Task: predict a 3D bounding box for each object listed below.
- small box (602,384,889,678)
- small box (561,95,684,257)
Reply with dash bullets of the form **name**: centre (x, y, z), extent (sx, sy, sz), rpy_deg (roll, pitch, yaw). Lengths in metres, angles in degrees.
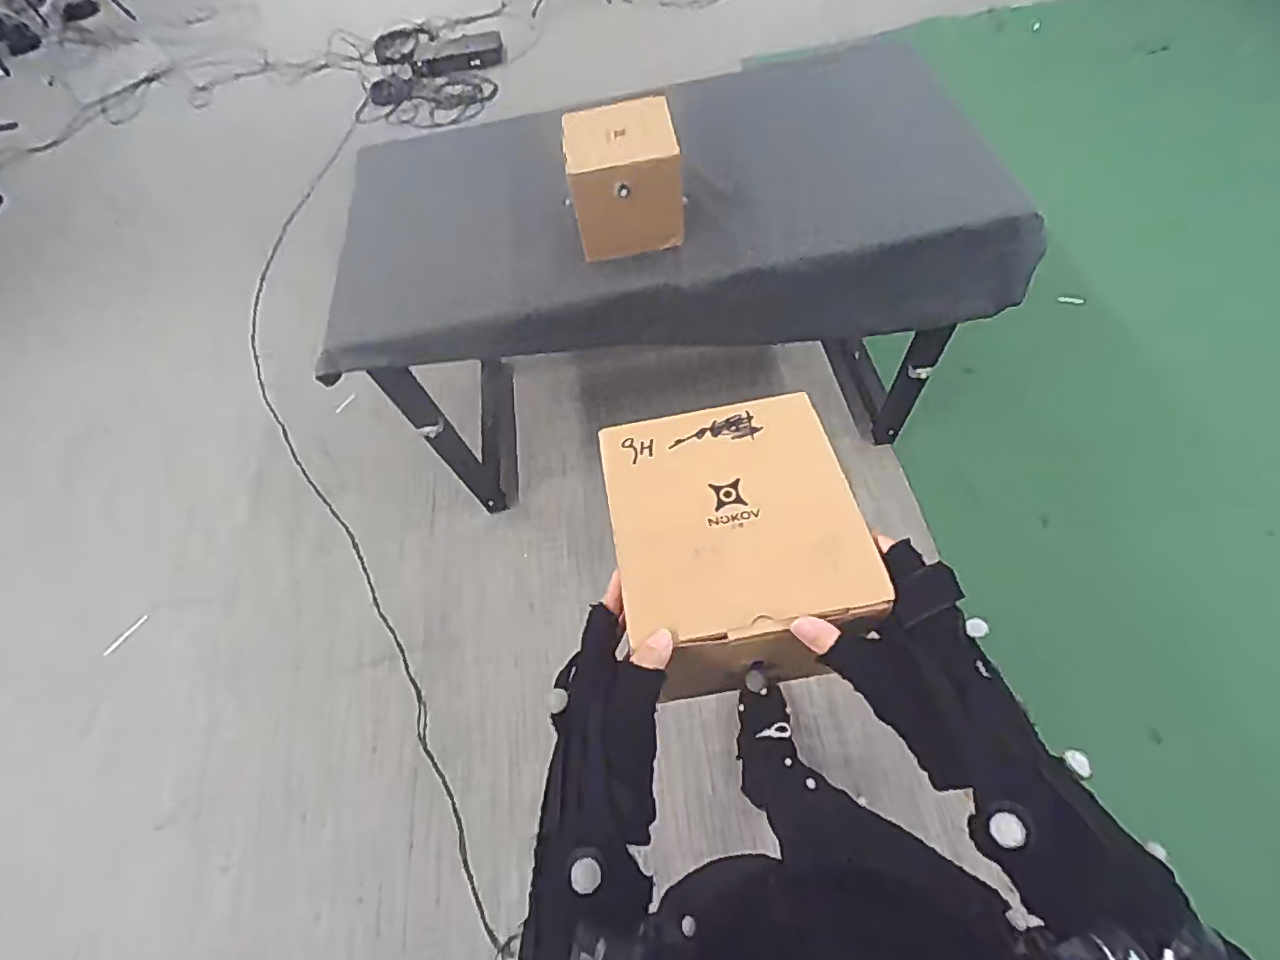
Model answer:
- **small box**: centre (0.071, 0.053, 0.442), extent (0.168, 0.176, 0.179), rpy_deg (-11, 59, 0)
- **small box**: centre (-0.025, -0.504, 0.914), extent (0.179, 0.176, 0.168), rpy_deg (-9, 62, 1)
